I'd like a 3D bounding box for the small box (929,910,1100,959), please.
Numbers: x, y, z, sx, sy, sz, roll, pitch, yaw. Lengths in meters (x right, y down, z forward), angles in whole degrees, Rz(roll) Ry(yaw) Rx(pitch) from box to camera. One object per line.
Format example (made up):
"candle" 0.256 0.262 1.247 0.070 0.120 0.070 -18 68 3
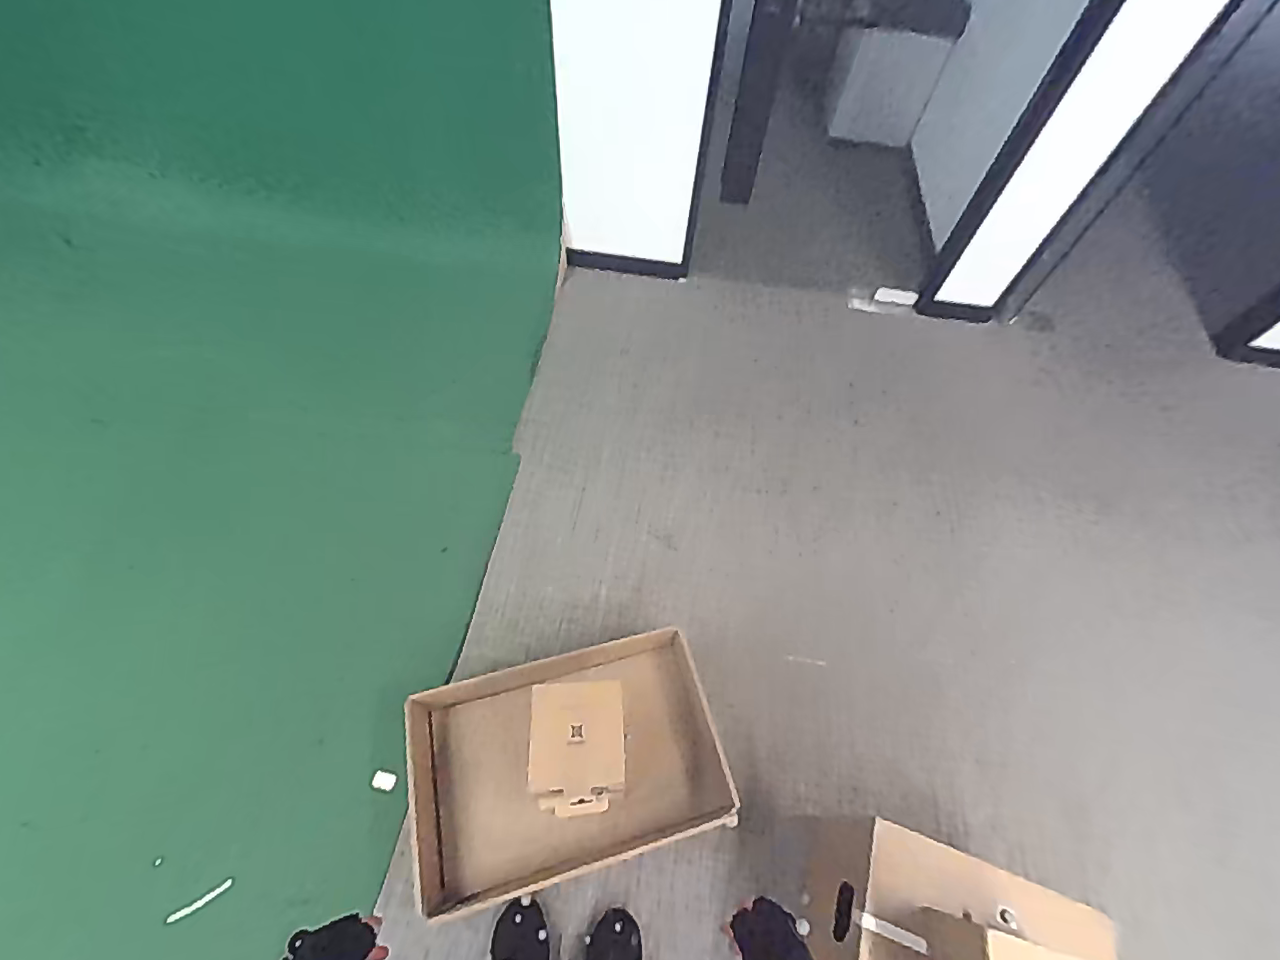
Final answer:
"small box" 0.538 0.752 0.781 0.179 0.176 0.168 15 59 5

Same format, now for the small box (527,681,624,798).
"small box" -0.116 0.491 1.015 0.168 0.176 0.179 -2 56 -5

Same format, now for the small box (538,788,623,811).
"small box" -0.126 0.589 1.144 0.168 0.176 0.179 -6 57 -6
